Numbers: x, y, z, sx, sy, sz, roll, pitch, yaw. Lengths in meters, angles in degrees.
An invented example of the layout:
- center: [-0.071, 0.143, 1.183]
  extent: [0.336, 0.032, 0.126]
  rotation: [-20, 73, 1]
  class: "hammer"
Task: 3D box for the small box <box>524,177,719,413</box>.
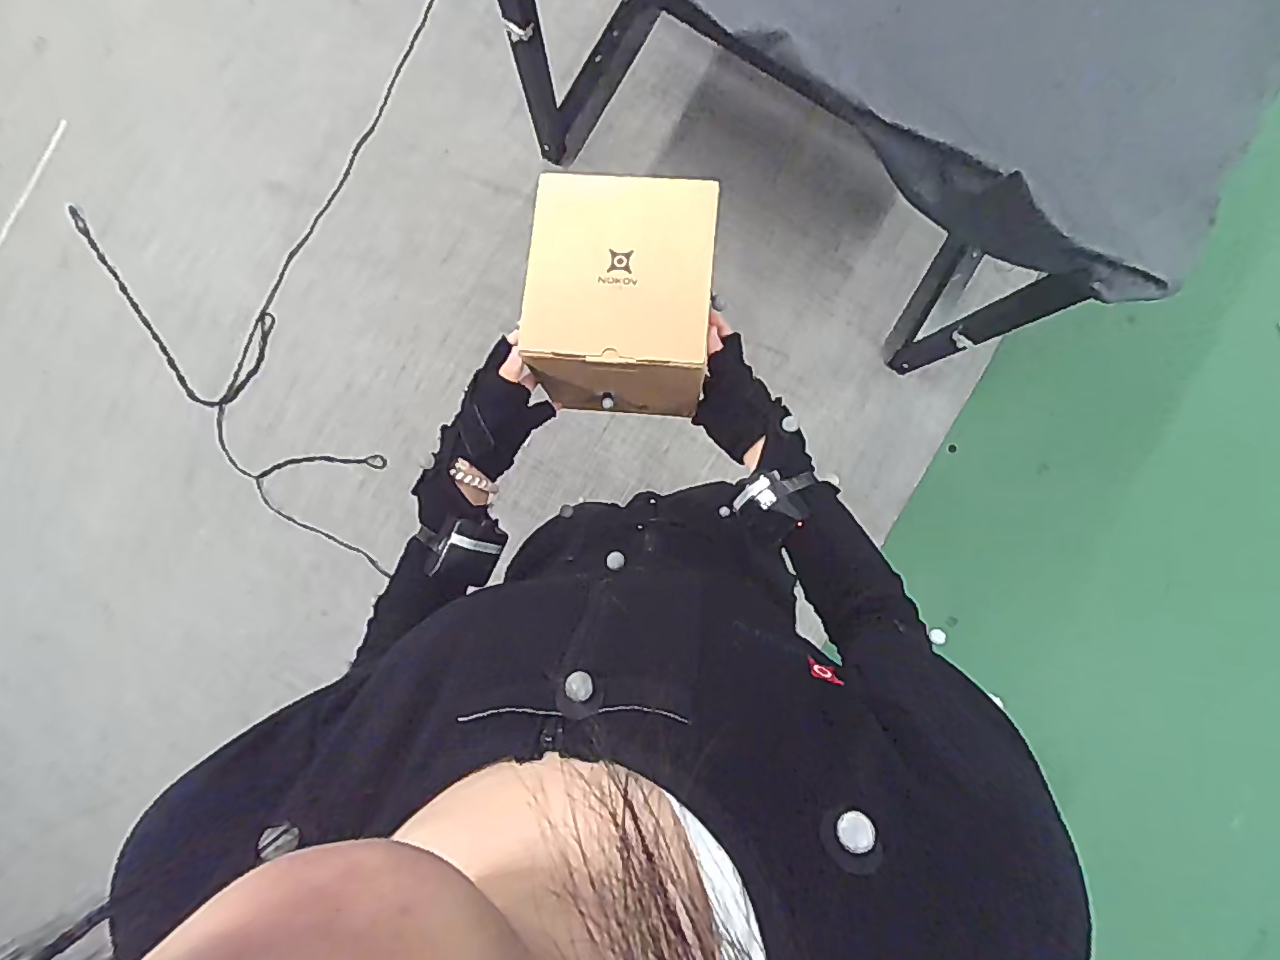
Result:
- center: [-0.014, -0.182, 0.573]
  extent: [0.168, 0.176, 0.179]
  rotation: [5, 83, 3]
  class: "small box"
